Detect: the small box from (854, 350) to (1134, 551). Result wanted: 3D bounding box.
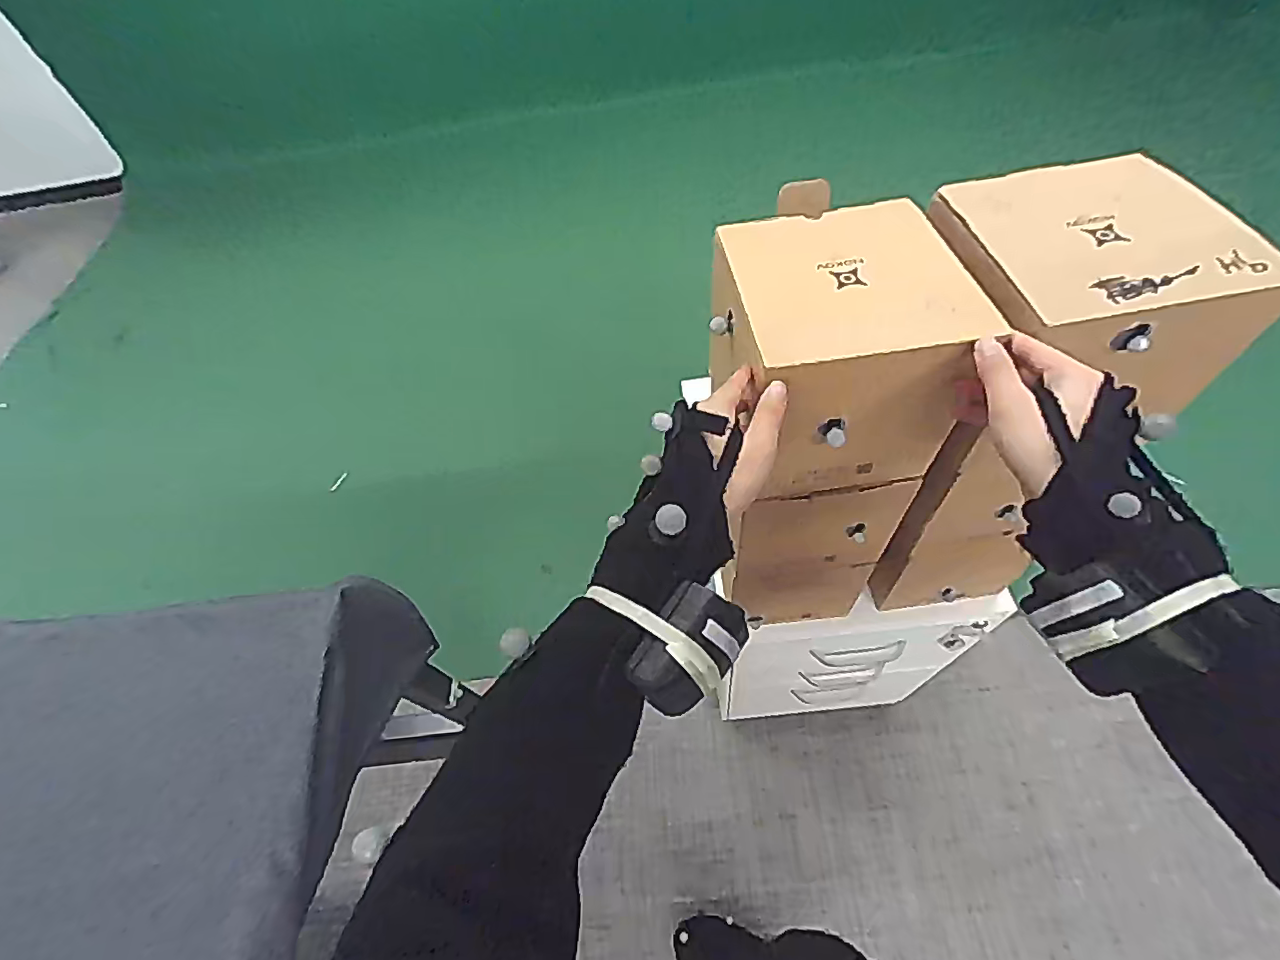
[{"bbox_3d":[0.357,-0.035,0.591,0.168,0.176,0.179,-10,55,1],"label":"small box"}]

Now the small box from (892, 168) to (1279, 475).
[{"bbox_3d":[0.340,-0.128,0.457,0.168,0.176,0.179,-8,54,2],"label":"small box"}]
